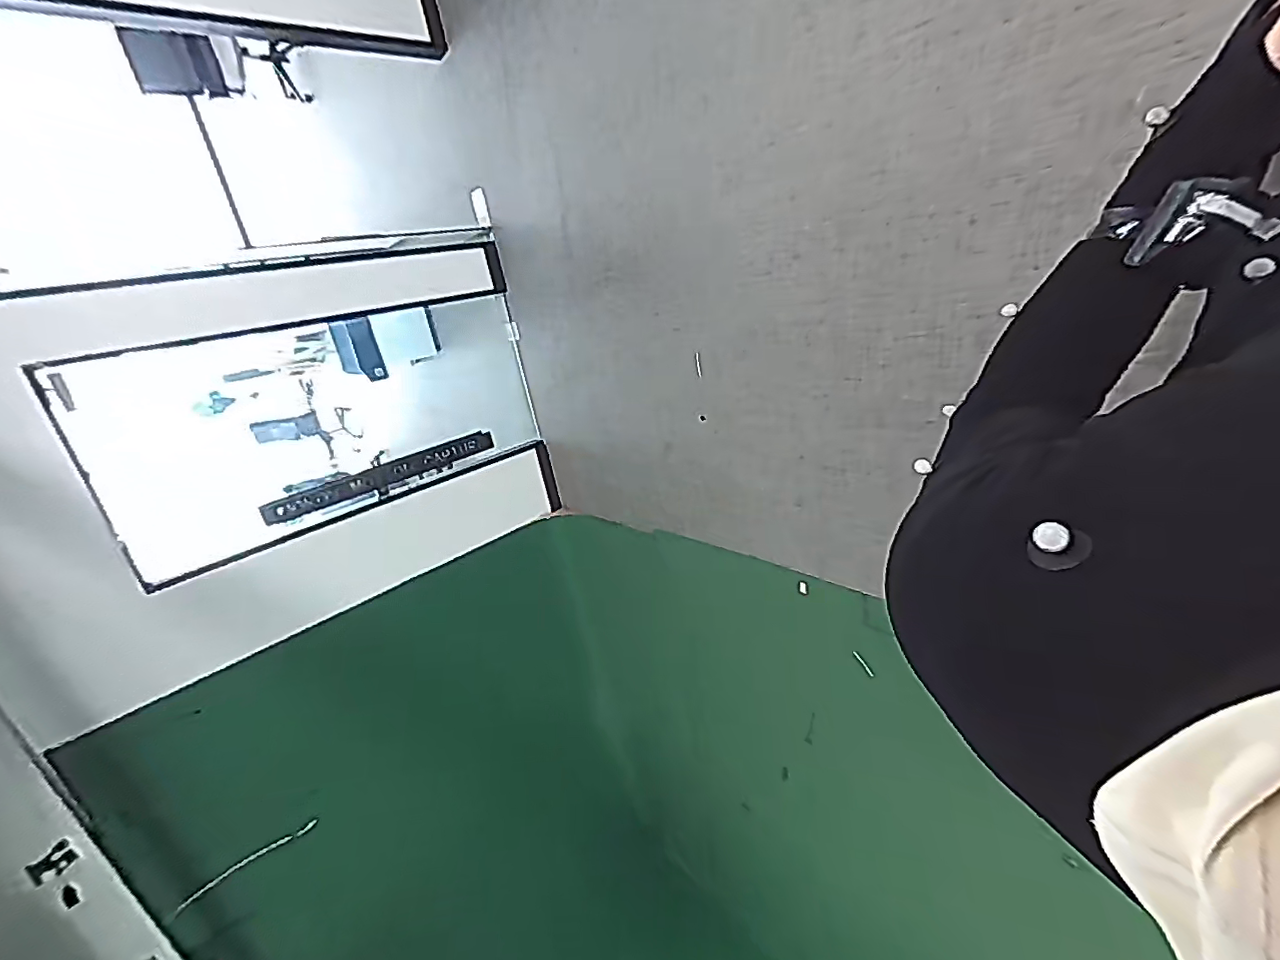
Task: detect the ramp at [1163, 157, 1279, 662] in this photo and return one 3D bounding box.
[{"bbox_3d":[1.350,-0.100,0.977,0.509,0.206,0.991,9,117,50],"label":"ramp"}]
